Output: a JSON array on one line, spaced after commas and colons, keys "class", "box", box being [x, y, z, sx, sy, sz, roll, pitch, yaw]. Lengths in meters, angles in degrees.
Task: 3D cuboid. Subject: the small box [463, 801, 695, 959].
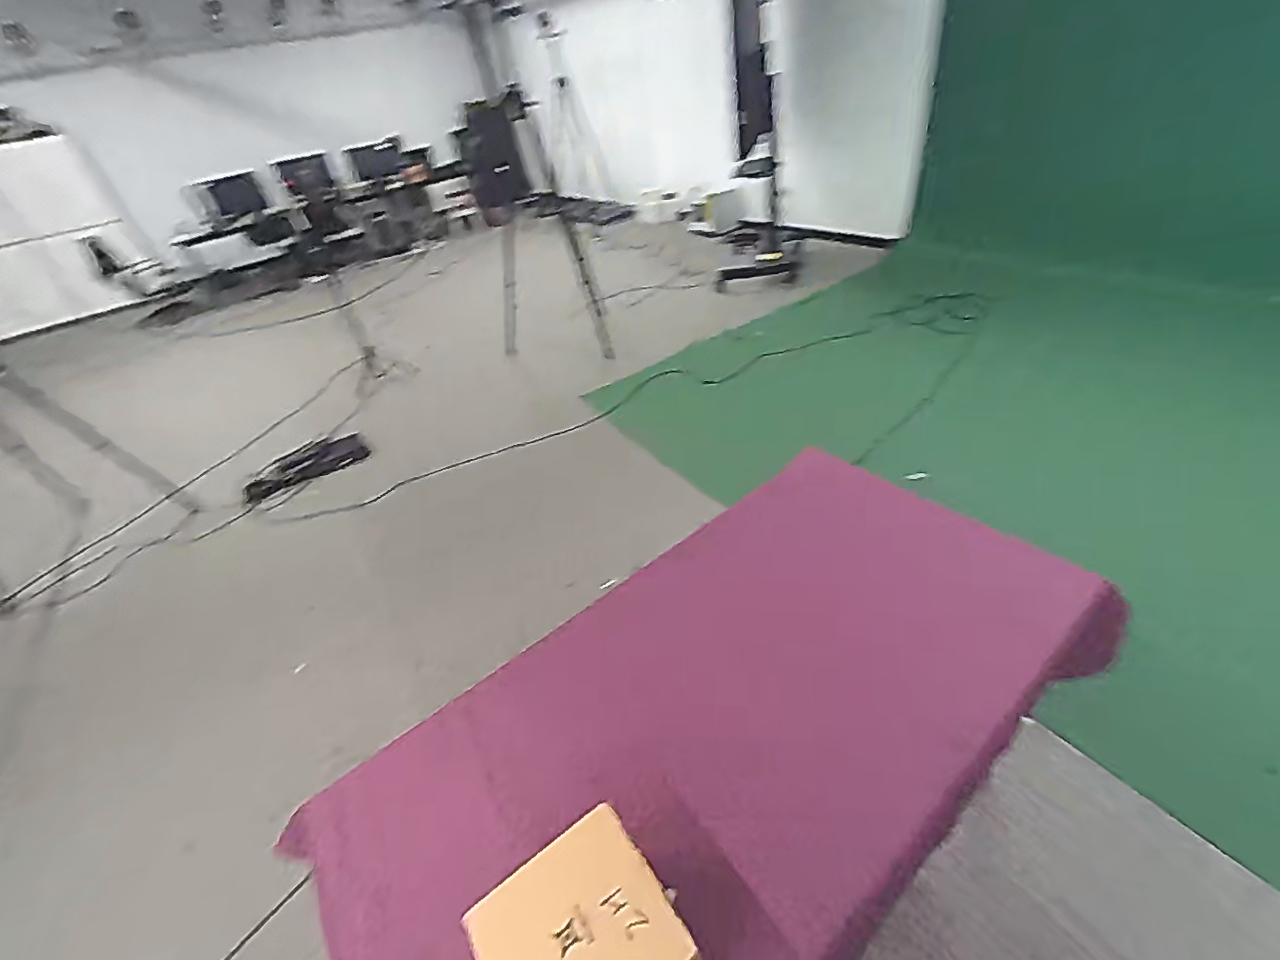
[{"class": "small box", "box": [-0.053, 0.495, 0.567, 0.179, 0.176, 0.168, -29, 41, -22]}]
